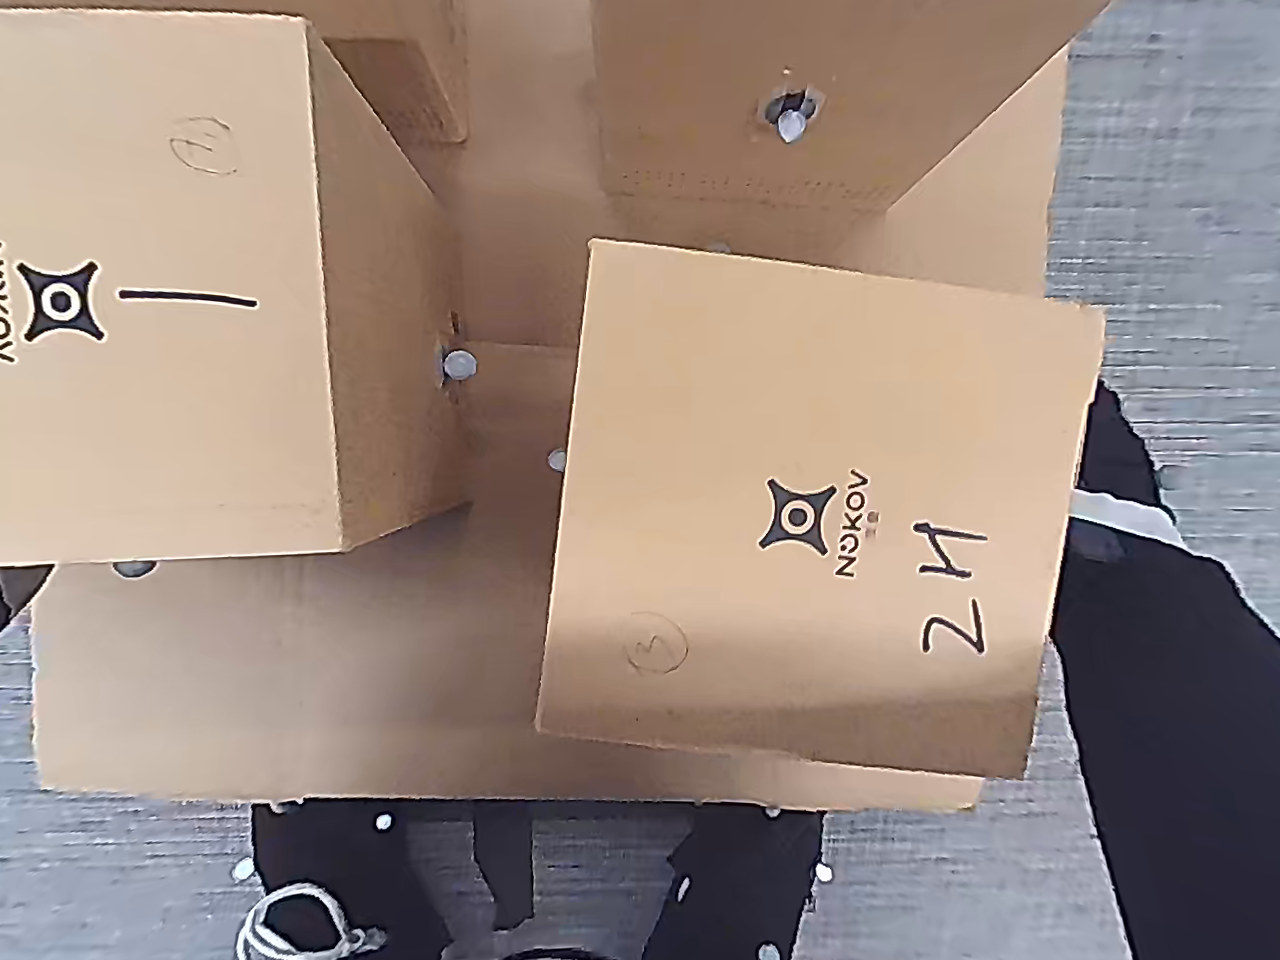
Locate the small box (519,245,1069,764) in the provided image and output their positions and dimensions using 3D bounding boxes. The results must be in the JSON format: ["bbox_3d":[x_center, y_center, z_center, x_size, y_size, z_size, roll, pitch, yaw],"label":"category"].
[{"bbox_3d":[0.051,0.007,0.269,0.179,0.176,0.168,7,94,-3],"label":"small box"}]

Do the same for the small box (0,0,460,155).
[{"bbox_3d":[-0.188,-0.275,0.244,0.179,0.176,0.168,-1,91,-1],"label":"small box"}]
